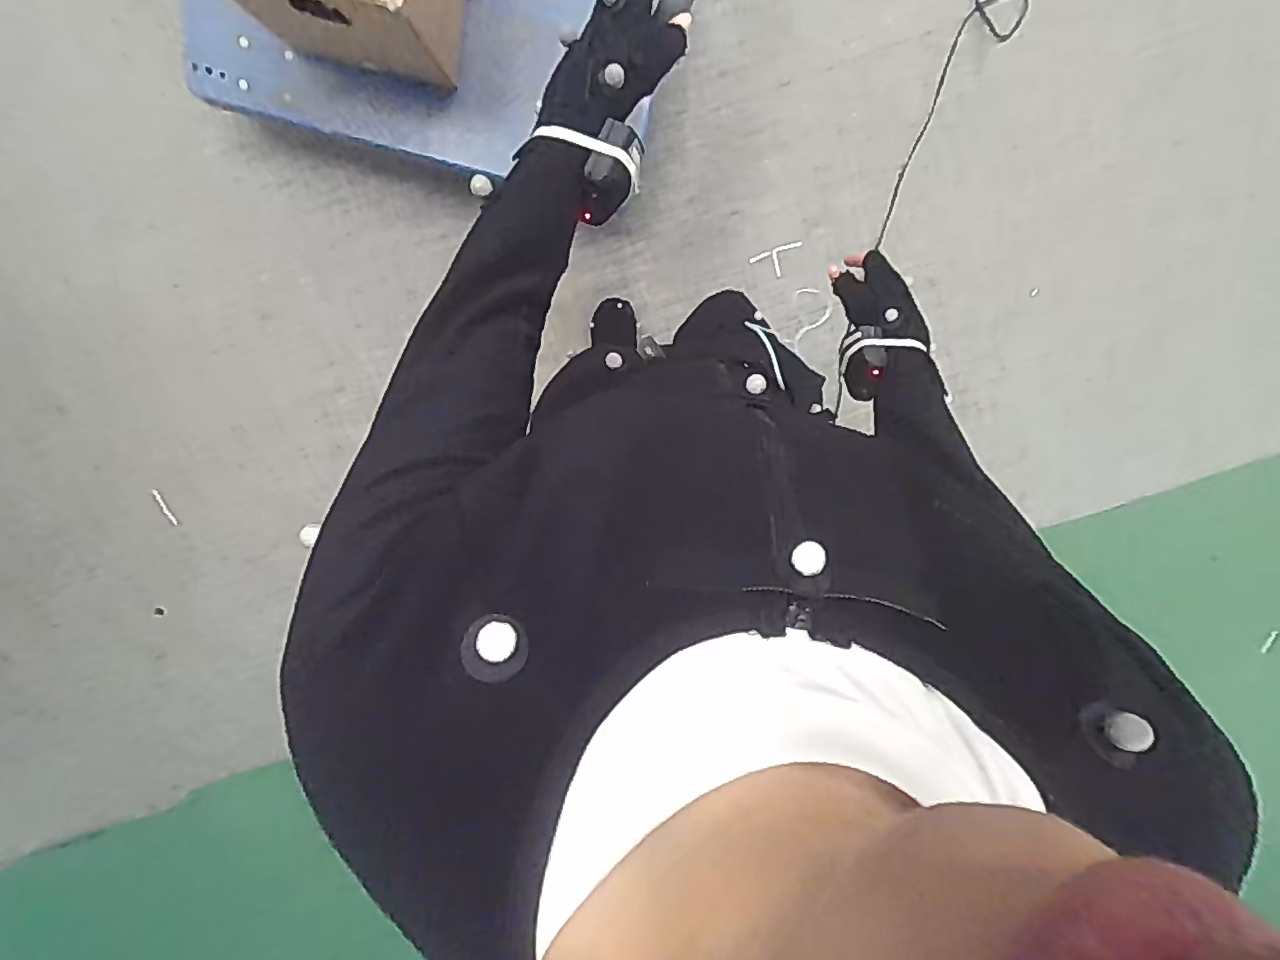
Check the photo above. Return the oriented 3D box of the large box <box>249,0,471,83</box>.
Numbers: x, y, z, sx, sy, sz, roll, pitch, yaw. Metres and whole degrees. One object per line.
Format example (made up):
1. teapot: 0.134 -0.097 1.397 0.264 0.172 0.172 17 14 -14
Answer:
1. large box: -0.443 -0.931 0.838 0.320 0.320 0.408 9 108 -6
